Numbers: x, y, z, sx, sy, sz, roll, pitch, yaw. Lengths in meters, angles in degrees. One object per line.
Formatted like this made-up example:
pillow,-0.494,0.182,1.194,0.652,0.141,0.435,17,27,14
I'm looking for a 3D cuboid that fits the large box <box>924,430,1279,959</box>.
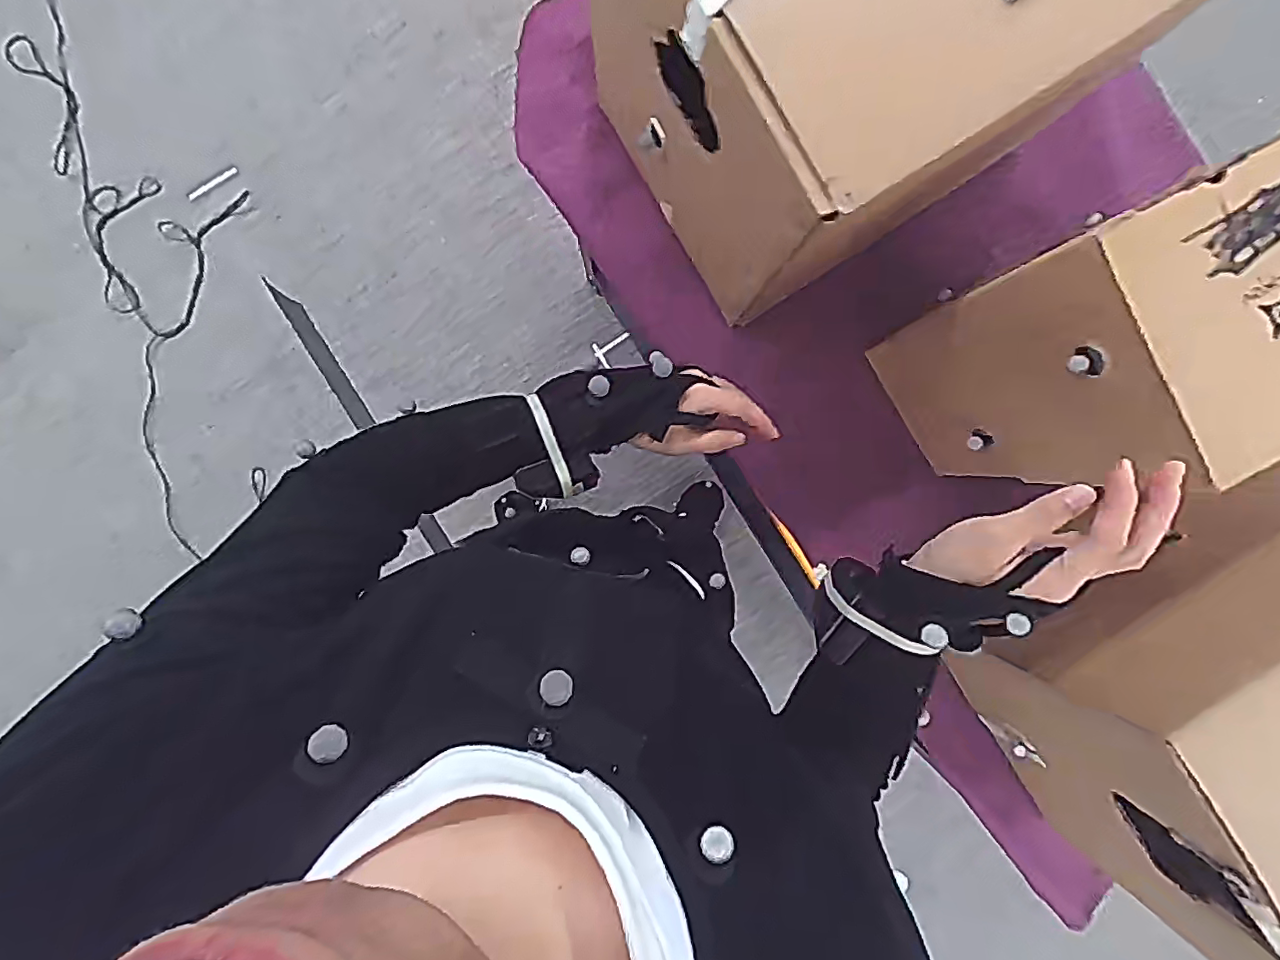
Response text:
large box,0.582,0.180,0.505,0.408,0.320,0.320,-33,92,-1
